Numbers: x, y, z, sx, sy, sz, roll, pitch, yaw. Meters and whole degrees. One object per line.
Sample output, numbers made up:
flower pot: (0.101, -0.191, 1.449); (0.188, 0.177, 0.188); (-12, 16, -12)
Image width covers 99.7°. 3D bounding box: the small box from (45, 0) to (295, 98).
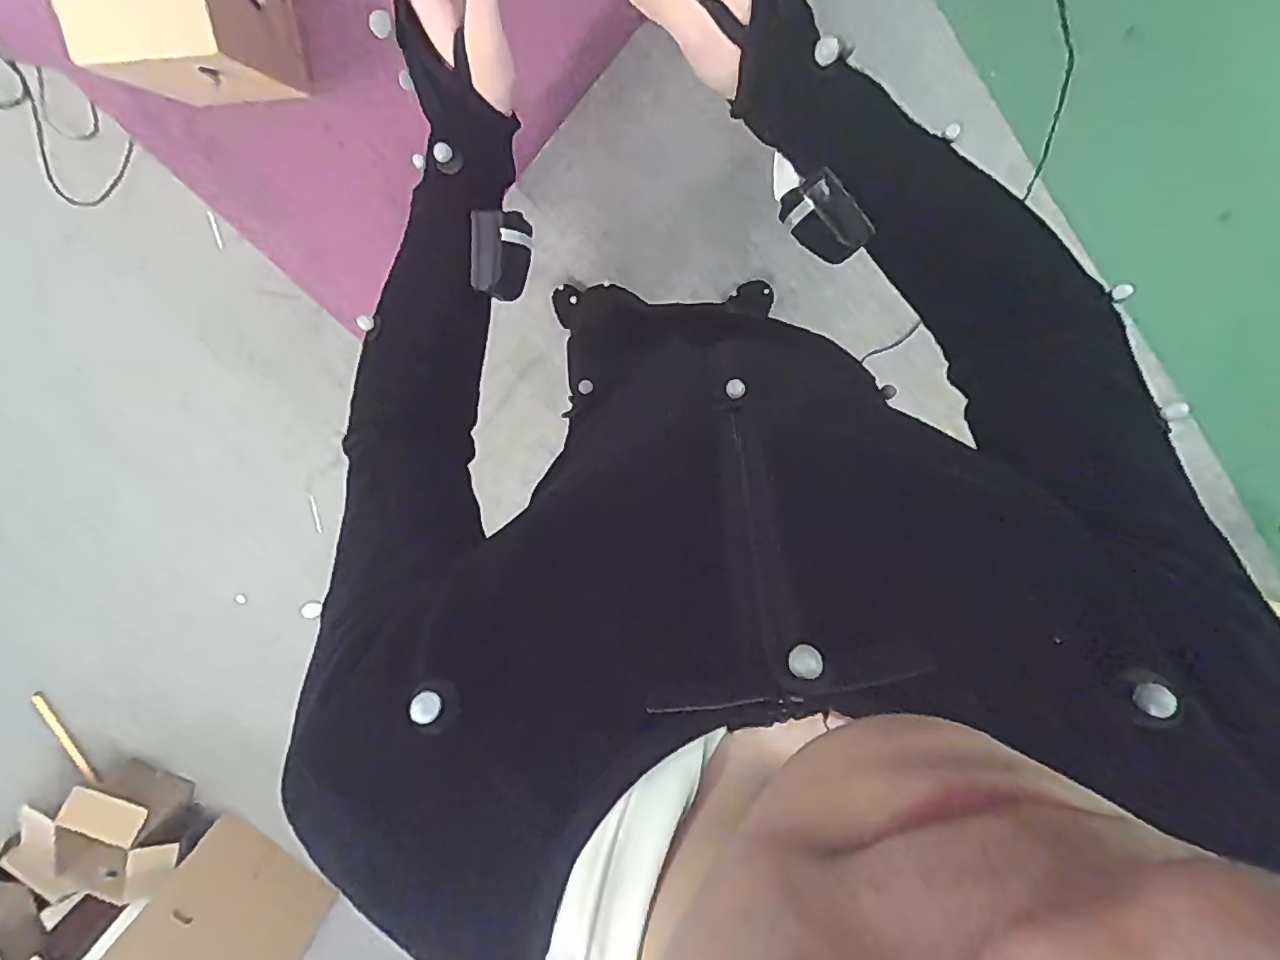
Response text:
small box: (-0.541, -0.568, 0.630); (0.179, 0.176, 0.168); (-1, 112, 4)
